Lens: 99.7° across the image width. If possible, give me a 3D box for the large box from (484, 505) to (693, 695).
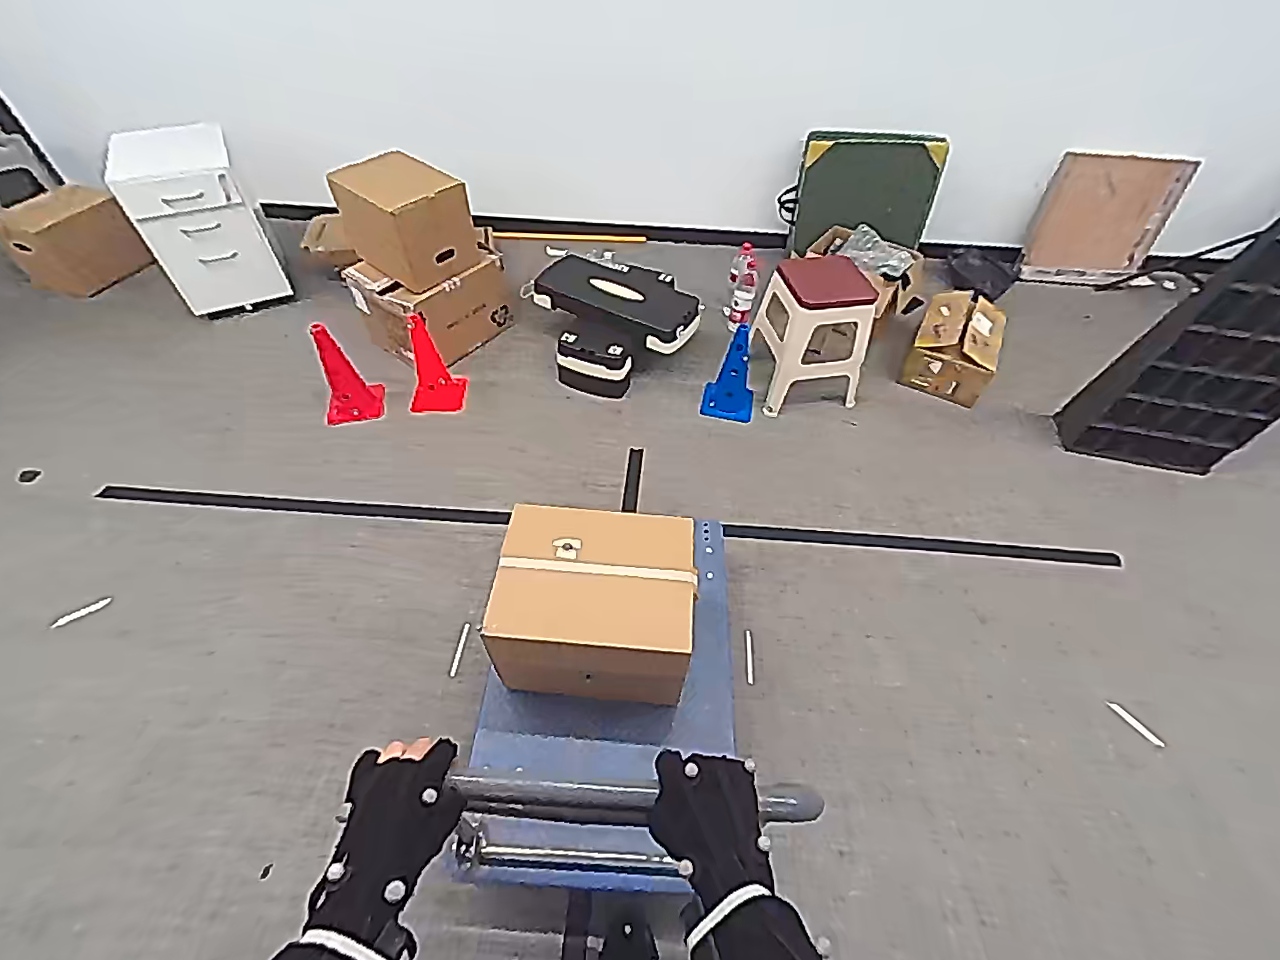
[{"bbox_3d":[-0.092,0.280,1.235,0.408,0.320,0.320,5,51,2],"label":"large box"}]
